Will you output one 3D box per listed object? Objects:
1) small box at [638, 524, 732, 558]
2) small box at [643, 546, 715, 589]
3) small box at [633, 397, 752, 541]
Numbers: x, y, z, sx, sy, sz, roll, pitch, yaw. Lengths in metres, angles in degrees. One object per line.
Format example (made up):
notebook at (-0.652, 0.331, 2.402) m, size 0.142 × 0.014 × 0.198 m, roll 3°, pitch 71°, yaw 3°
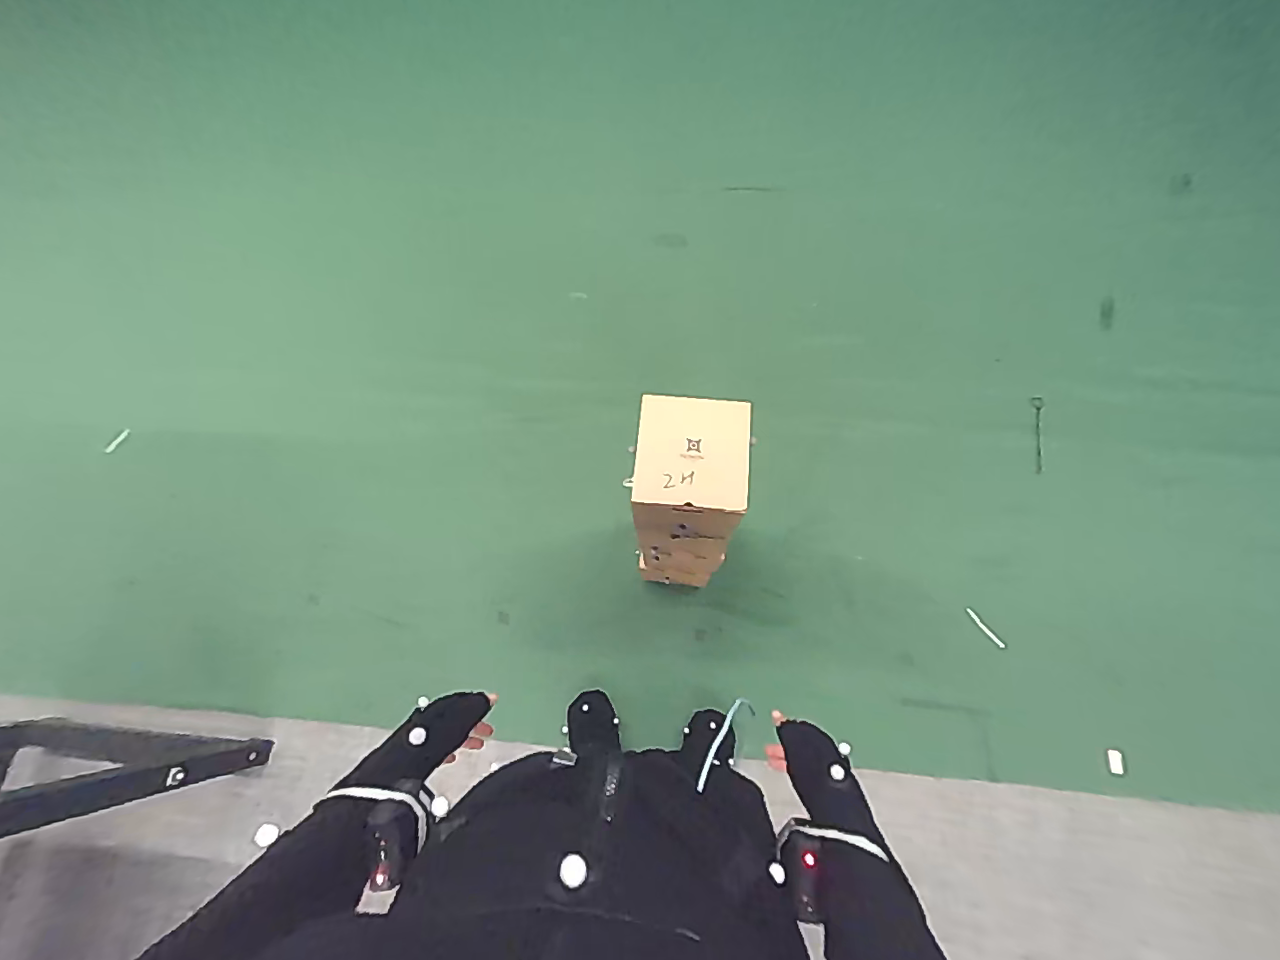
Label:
small box at (0.090, 0.043, 1.023) m, size 0.168 × 0.176 × 0.179 m, roll 6°, pitch 70°, yaw 4°
small box at (0.099, 0.162, 1.330) m, size 0.168 × 0.176 × 0.179 m, roll 7°, pitch 72°, yaw 4°
small box at (0.080, -0.012, 0.868) m, size 0.168 × 0.176 × 0.179 m, roll 5°, pitch 71°, yaw 4°
